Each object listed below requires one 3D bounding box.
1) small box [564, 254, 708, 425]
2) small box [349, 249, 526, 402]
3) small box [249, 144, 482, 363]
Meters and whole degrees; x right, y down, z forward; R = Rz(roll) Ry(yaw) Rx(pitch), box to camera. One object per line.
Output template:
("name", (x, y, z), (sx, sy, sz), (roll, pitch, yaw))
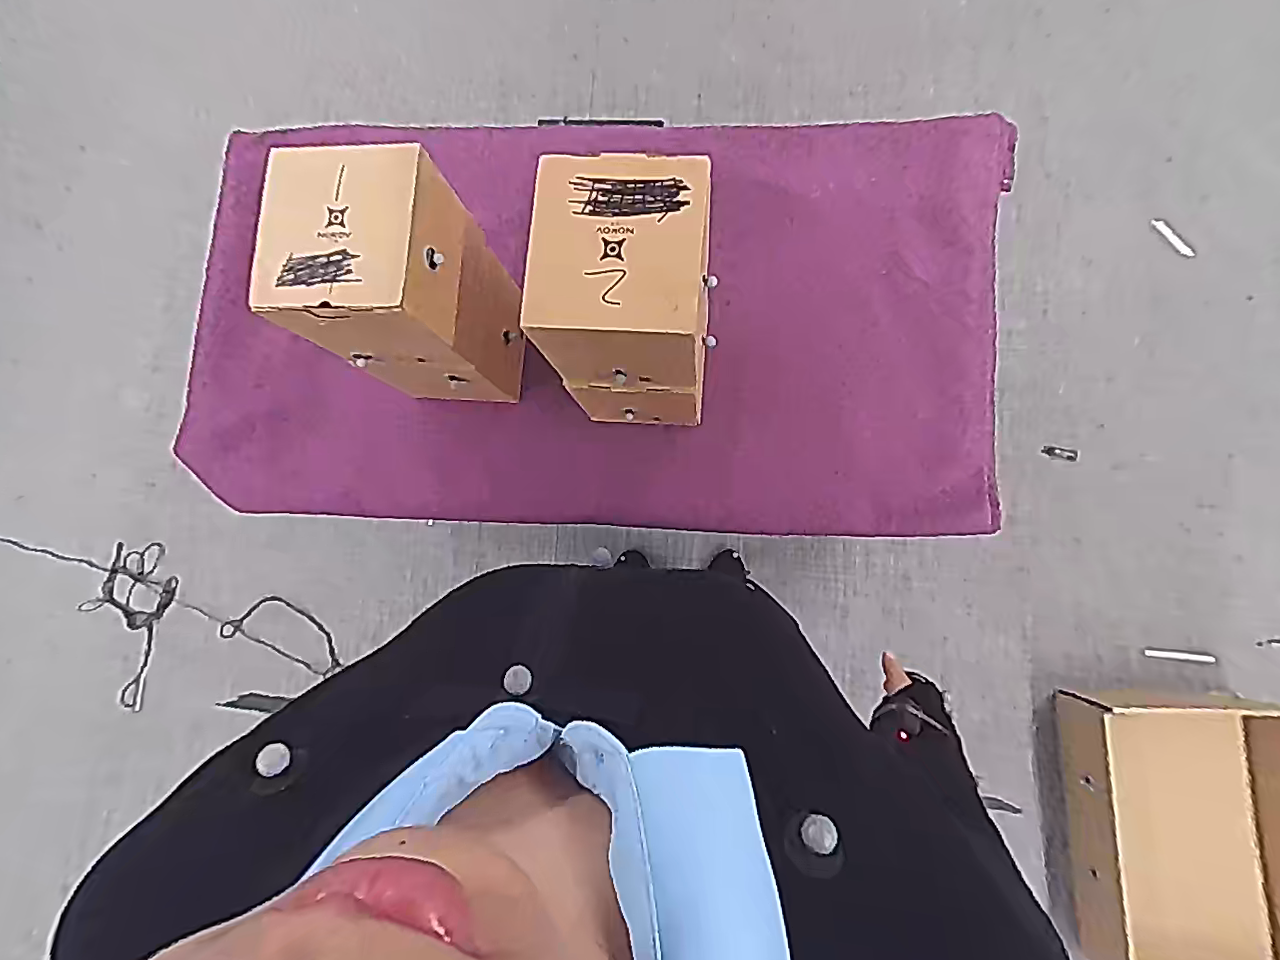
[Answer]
("small box", (0.003, -0.183, 0.739), (0.168, 0.176, 0.179), (4, 83, 7))
("small box", (-0.275, -0.214, 0.775), (0.179, 0.176, 0.168), (4, 83, 7))
("small box", (-0.293, -0.241, 0.614), (0.168, 0.176, 0.179), (2, 83, 7))
